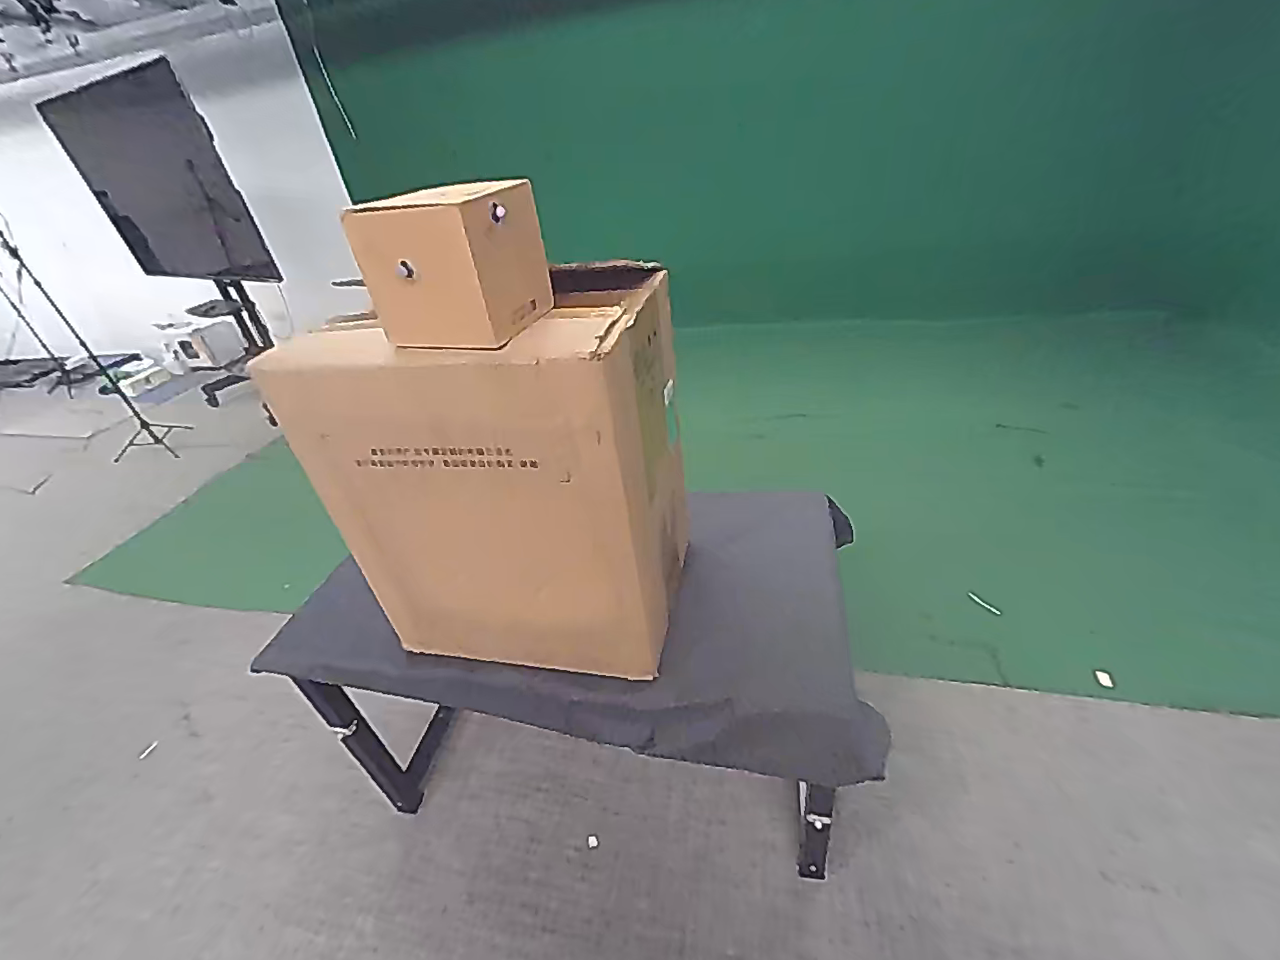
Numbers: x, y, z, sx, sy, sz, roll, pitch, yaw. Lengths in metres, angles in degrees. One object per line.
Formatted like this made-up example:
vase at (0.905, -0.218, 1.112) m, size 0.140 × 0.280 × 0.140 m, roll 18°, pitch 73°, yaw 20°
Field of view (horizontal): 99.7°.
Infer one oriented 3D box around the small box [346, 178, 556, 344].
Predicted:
small box at (-0.236, -0.289, 0.720) m, size 0.179 × 0.176 × 0.168 m, roll 6°, pitch 38°, yaw 20°
